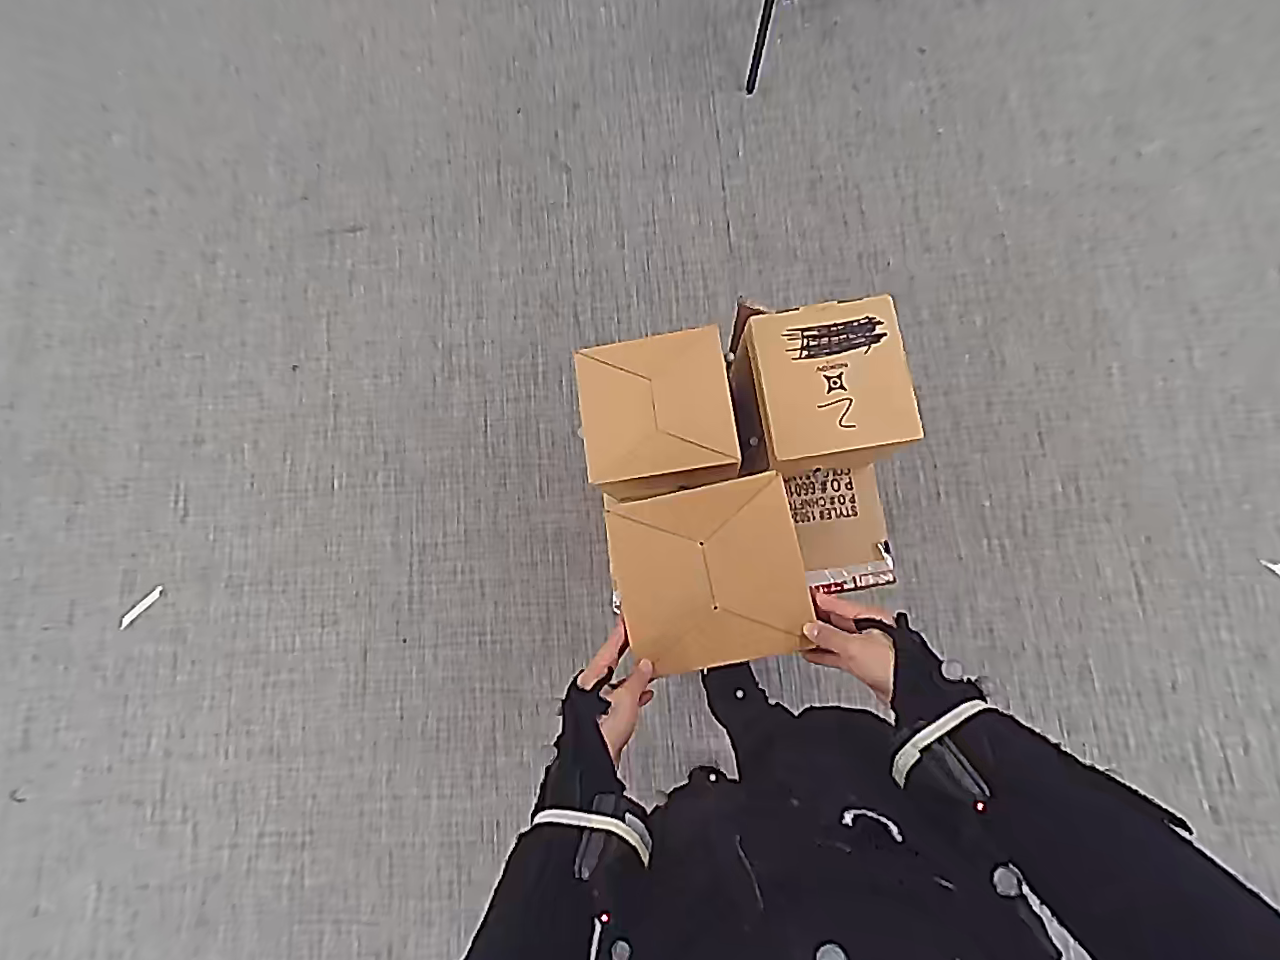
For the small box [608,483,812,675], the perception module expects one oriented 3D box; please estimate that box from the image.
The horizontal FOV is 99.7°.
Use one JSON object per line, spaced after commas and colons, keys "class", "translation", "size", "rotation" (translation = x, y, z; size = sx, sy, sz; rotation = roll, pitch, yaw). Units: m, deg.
{"class": "small box", "translation": [0.069, 0.104, 0.594], "size": [0.179, 0.176, 0.168], "rotation": [-12, 82, 4]}
